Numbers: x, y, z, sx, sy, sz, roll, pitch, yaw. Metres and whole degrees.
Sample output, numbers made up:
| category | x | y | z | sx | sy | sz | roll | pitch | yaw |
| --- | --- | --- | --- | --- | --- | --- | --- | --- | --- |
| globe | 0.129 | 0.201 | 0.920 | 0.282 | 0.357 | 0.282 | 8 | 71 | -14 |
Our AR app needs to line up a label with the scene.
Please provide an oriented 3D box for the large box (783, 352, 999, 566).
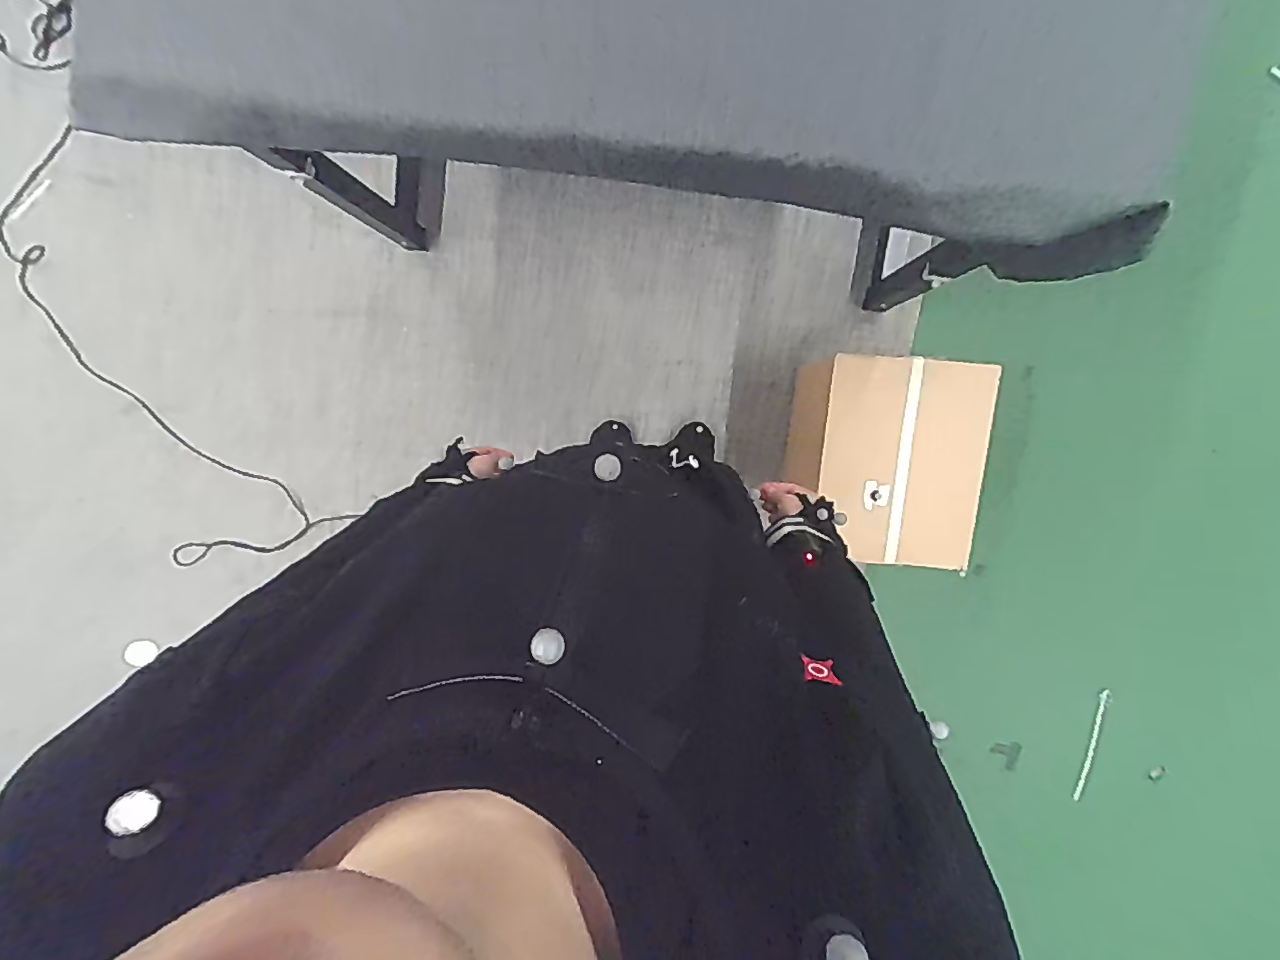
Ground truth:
| category | x | y | z | sx | sy | sz | roll | pitch | yaw |
| --- | --- | --- | --- | --- | --- | --- | --- | --- | --- |
| large box | 0.516 | -0.058 | 1.188 | 0.320 | 0.320 | 0.408 | 5 | 98 | 3 |
